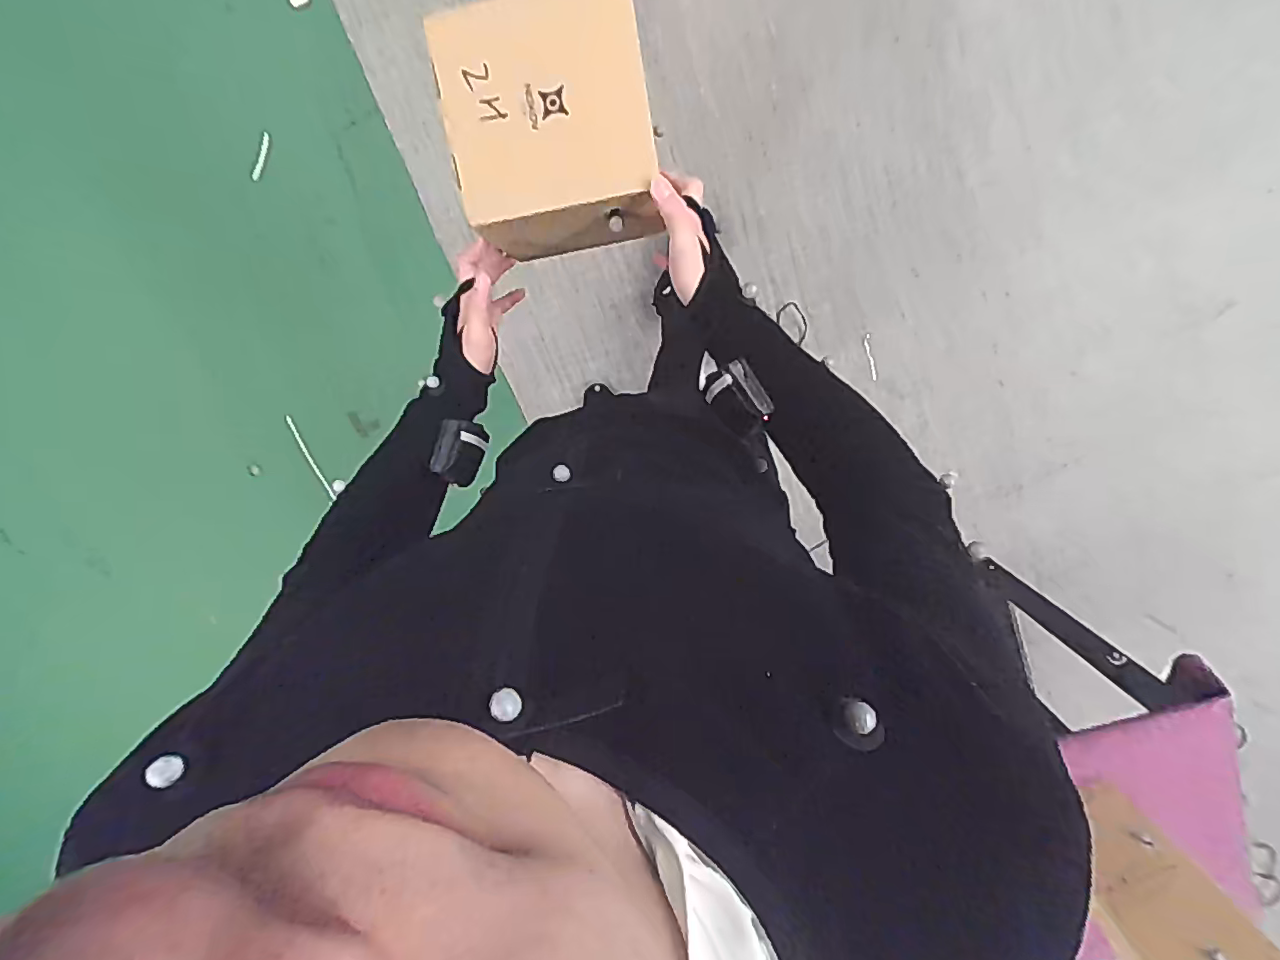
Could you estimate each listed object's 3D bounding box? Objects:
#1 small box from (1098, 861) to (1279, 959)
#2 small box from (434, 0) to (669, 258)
[{"bbox_3d":[0.893,0.770,0.873,0.179,0.176,0.168,-28,106,8],"label":"small box"},{"bbox_3d":[-0.069,-0.331,0.532,0.179,0.176,0.168,-9,101,6],"label":"small box"}]
